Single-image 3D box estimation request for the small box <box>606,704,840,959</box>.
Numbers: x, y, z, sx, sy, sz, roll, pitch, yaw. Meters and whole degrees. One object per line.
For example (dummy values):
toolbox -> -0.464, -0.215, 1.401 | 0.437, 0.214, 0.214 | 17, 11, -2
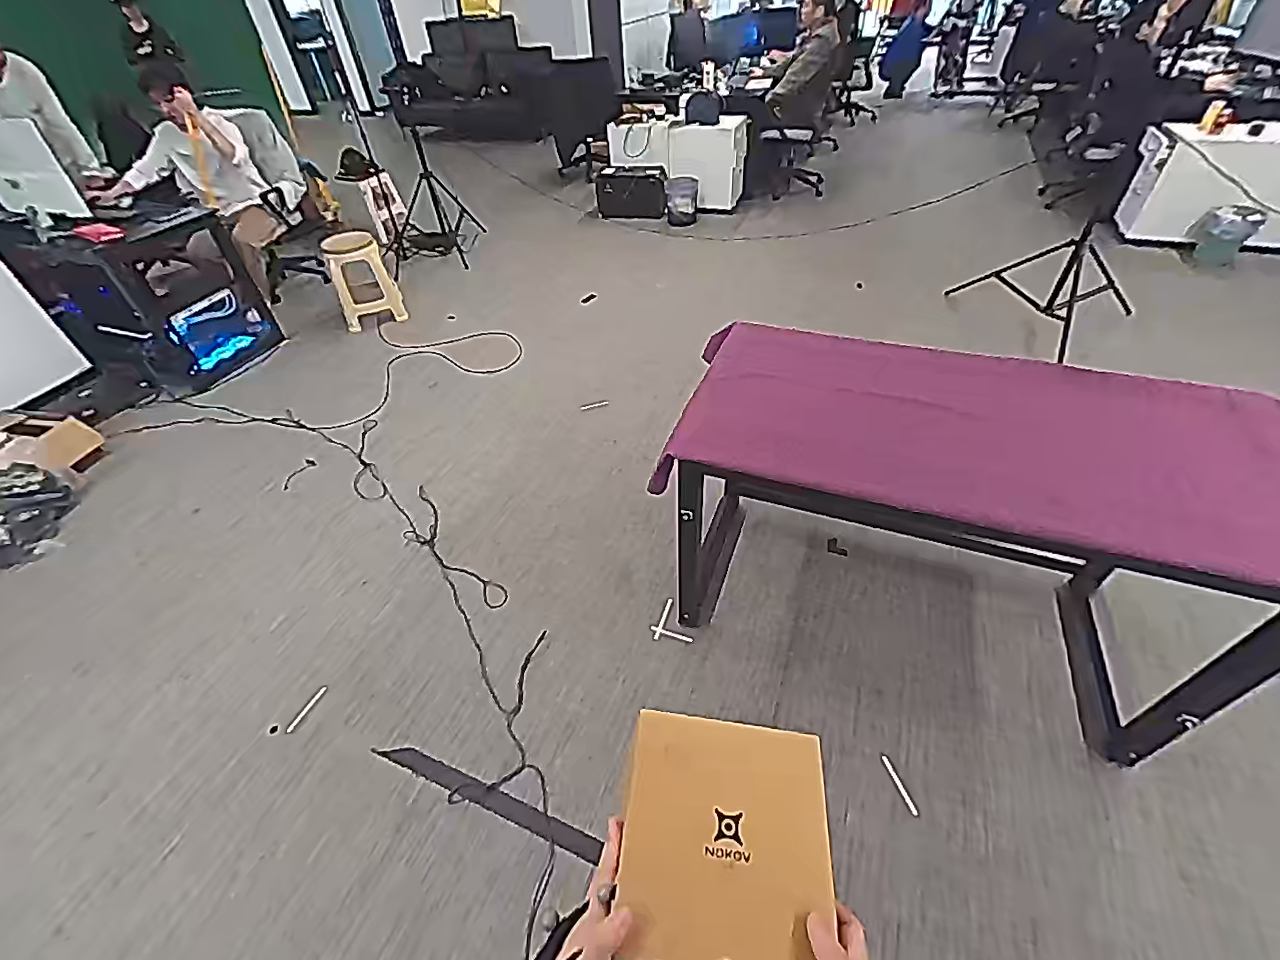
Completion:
small box -> 0.063, 0.333, 0.492 | 0.168, 0.176, 0.179 | 9, 48, 1
